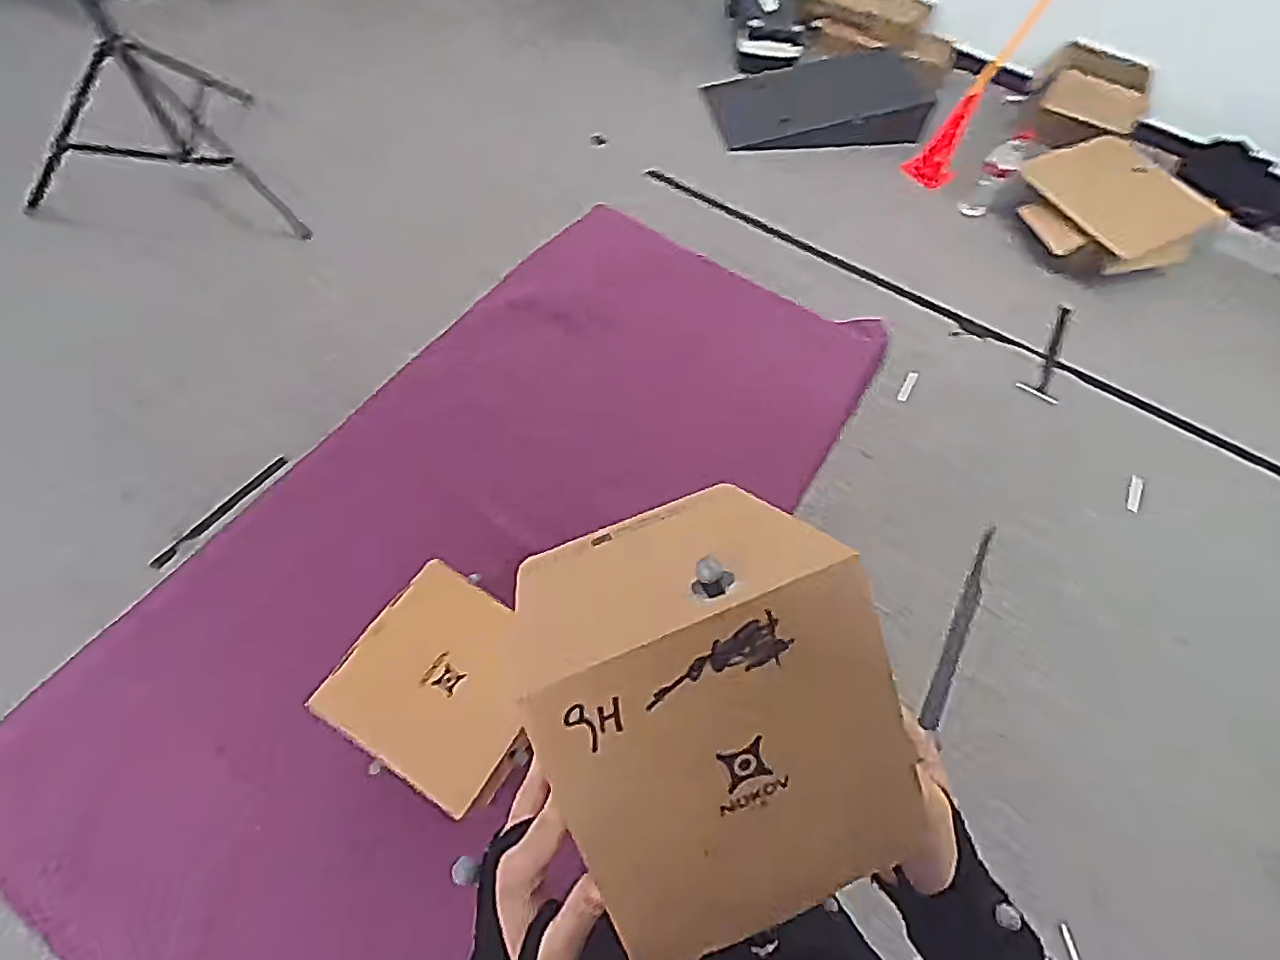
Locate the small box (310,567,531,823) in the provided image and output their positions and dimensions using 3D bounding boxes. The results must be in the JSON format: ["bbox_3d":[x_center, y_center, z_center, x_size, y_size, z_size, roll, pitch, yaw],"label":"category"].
[{"bbox_3d":[-0.192,0.225,0.577,0.179,0.176,0.168,30,64,9],"label":"small box"}]

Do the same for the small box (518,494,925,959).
[{"bbox_3d":[0.035,0.129,0.333,0.168,0.176,0.179,-21,104,-7],"label":"small box"}]
